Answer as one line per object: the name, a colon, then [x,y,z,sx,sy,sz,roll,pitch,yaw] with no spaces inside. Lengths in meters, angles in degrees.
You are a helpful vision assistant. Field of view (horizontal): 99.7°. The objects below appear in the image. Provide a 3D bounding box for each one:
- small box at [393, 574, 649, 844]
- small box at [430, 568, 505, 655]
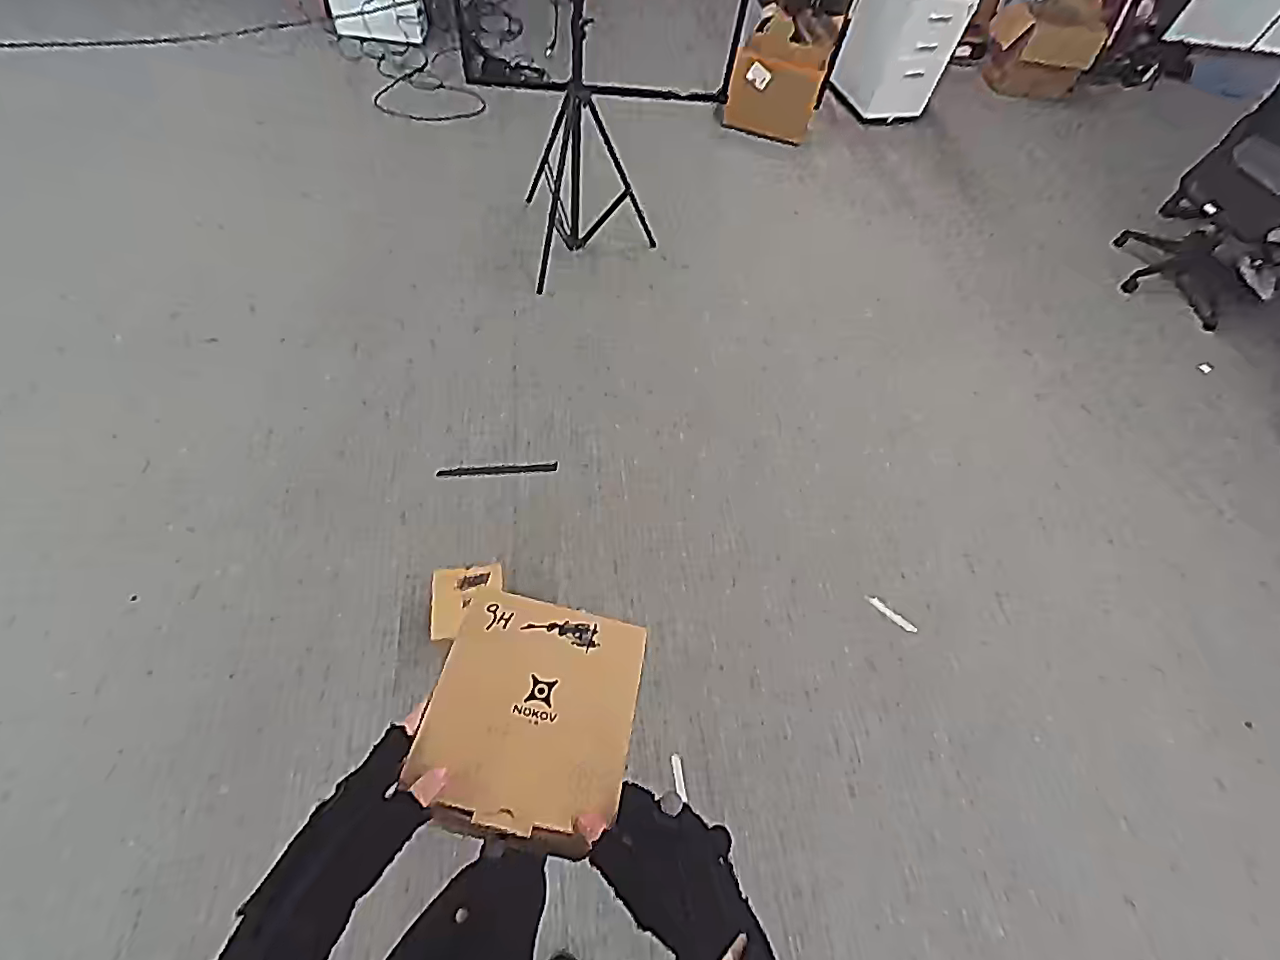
small box: [-0.101,0.220,0.506,0.168,0.176,0.179,16,51,-4]
small box: [-0.422,0.338,1.360,0.168,0.176,0.179,-4,60,-10]
